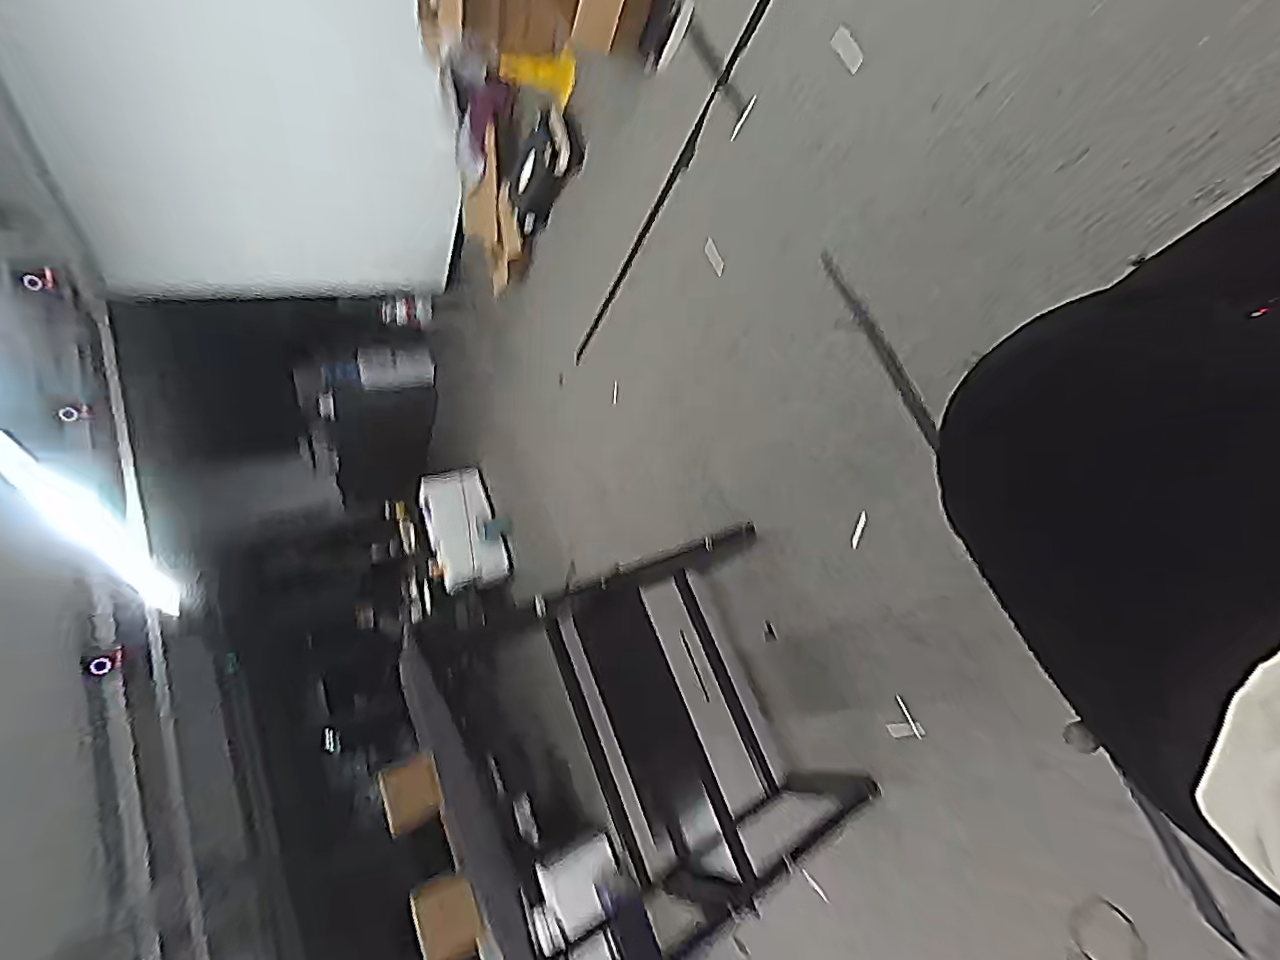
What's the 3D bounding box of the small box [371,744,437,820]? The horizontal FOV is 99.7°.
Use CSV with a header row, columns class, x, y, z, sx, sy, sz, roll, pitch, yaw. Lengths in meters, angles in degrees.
class,x,y,z,sx,sy,sz,roll,pitch,yaw
small box,-0.796,1.010,1.821,0.179,0.176,0.168,-45,64,54
